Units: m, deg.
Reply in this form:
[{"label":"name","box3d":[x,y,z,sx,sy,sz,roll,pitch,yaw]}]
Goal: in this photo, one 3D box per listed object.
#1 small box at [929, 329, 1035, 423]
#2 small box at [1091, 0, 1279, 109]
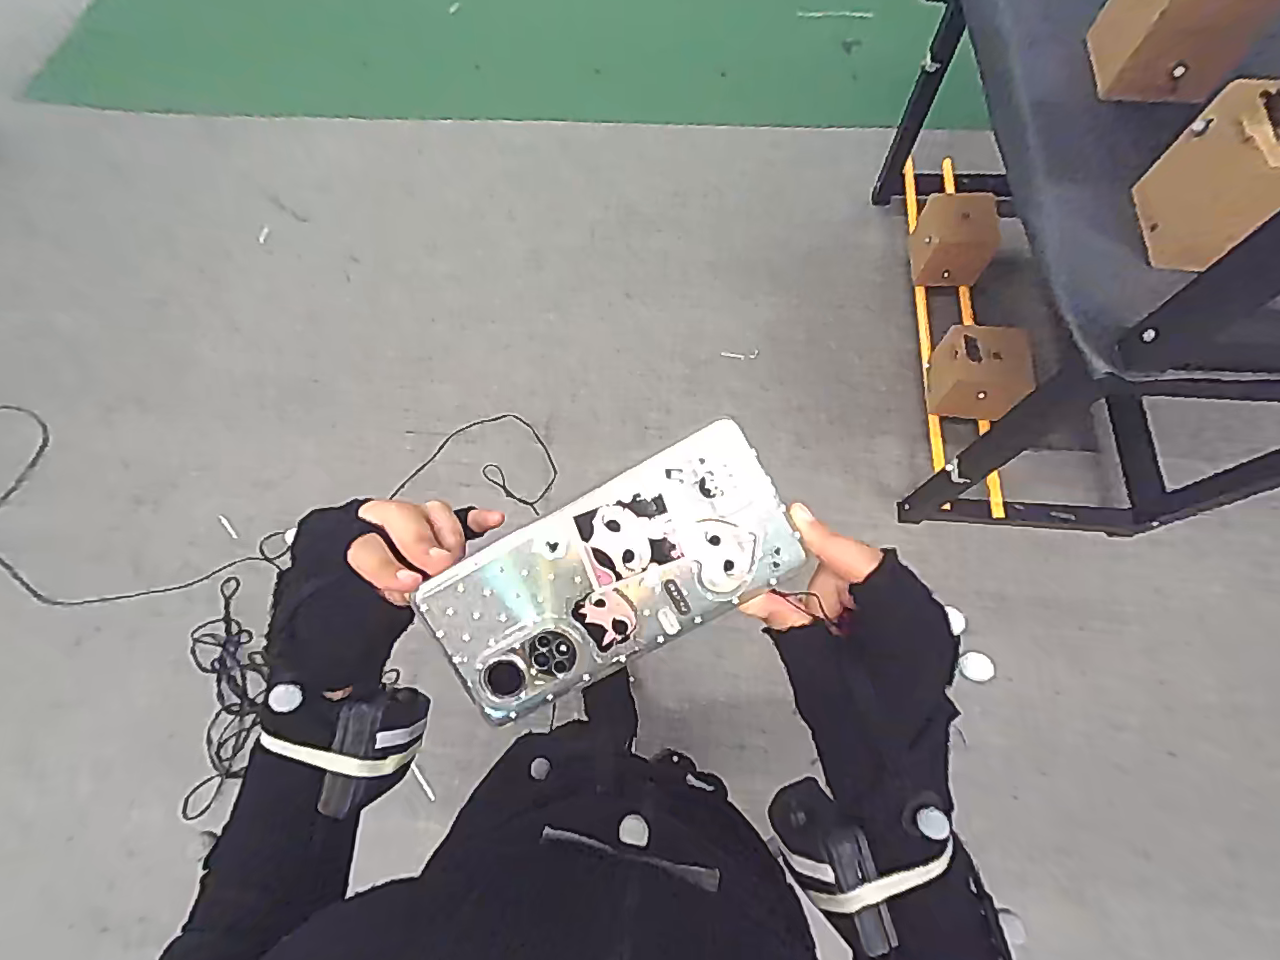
[{"label":"small box","box3d":[0.846,-0.256,1.359,0.179,0.176,0.168,7,69,7]},{"label":"small box","box3d":[0.885,-0.750,0.883,0.168,0.176,0.179,7,68,6]}]
